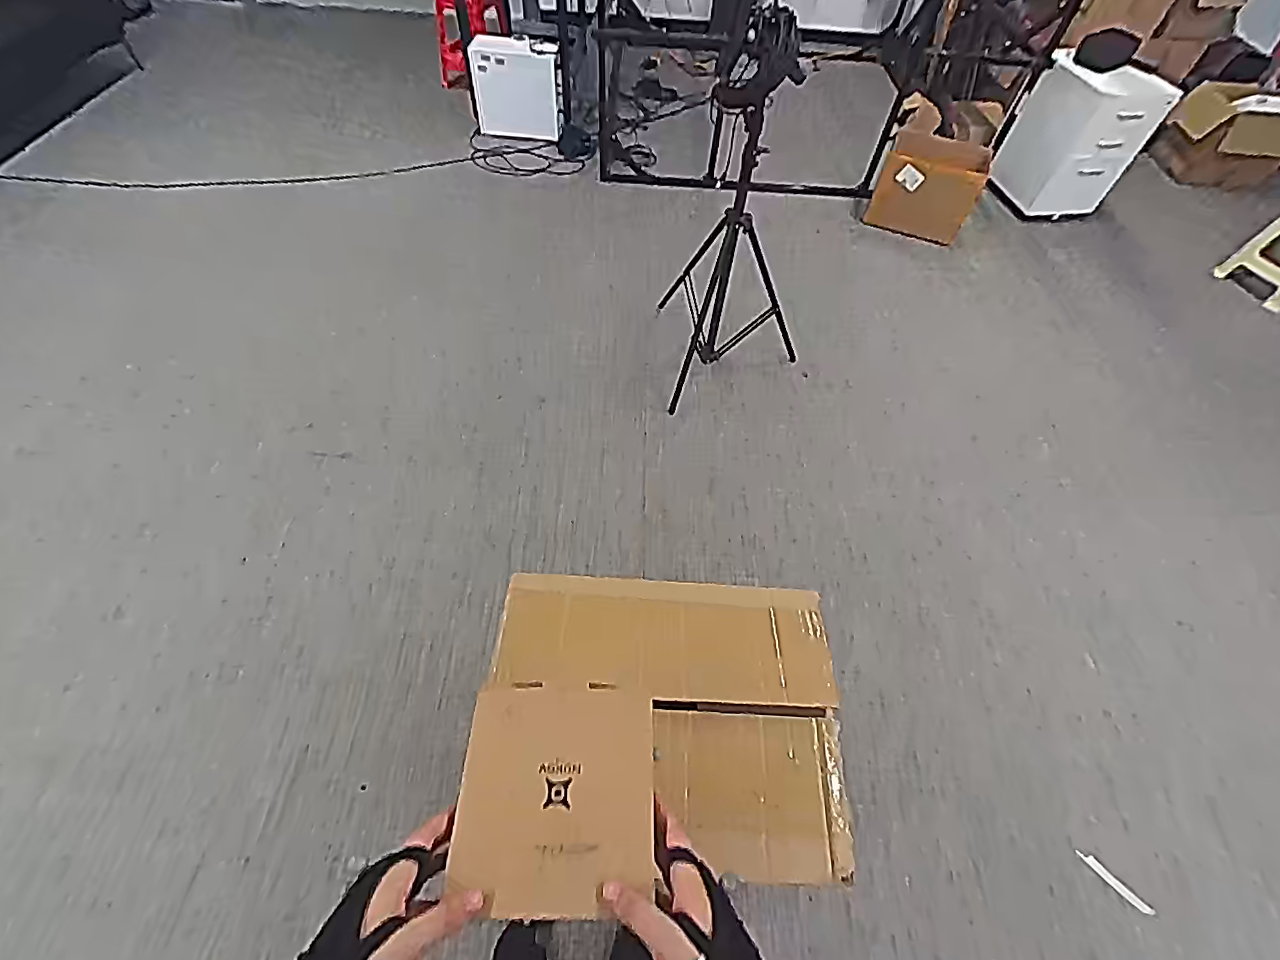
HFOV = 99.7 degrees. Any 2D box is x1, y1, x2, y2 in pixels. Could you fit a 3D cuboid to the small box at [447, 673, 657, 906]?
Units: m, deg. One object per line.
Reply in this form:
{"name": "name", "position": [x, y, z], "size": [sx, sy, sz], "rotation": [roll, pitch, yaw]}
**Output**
{"name": "small box", "position": [-0.072, 0.305, 0.530], "size": [0.168, 0.176, 0.179], "rotation": [0, 52, -2]}
